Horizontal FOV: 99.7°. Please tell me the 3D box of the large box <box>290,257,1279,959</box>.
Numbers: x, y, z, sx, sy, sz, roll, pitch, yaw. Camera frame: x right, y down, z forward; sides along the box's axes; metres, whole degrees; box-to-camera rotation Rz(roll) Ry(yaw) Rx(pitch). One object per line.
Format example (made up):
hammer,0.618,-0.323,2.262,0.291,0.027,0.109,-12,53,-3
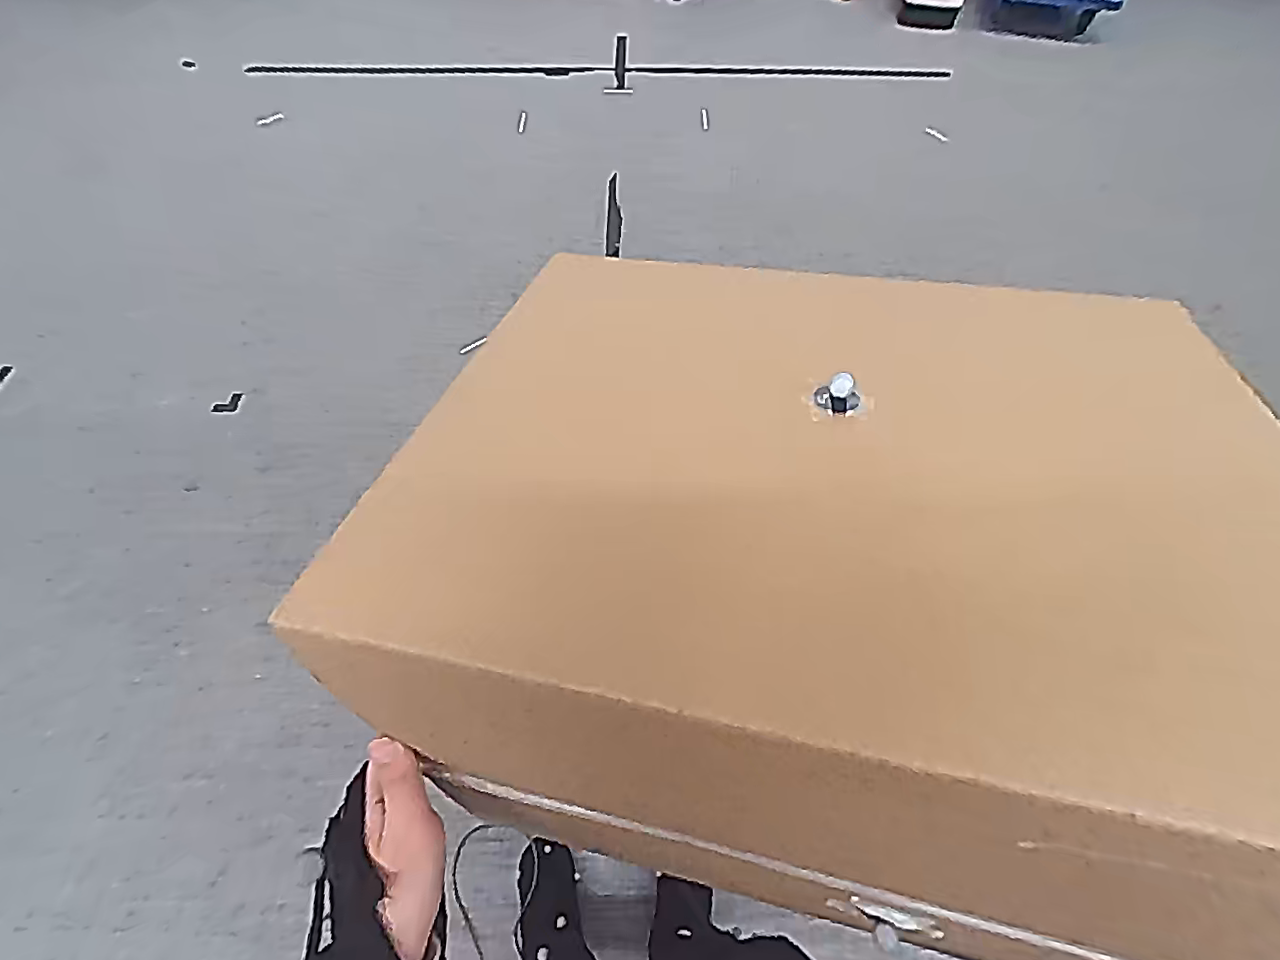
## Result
large box,0.099,0.067,0.368,0.408,0.320,0.320,8,48,11
